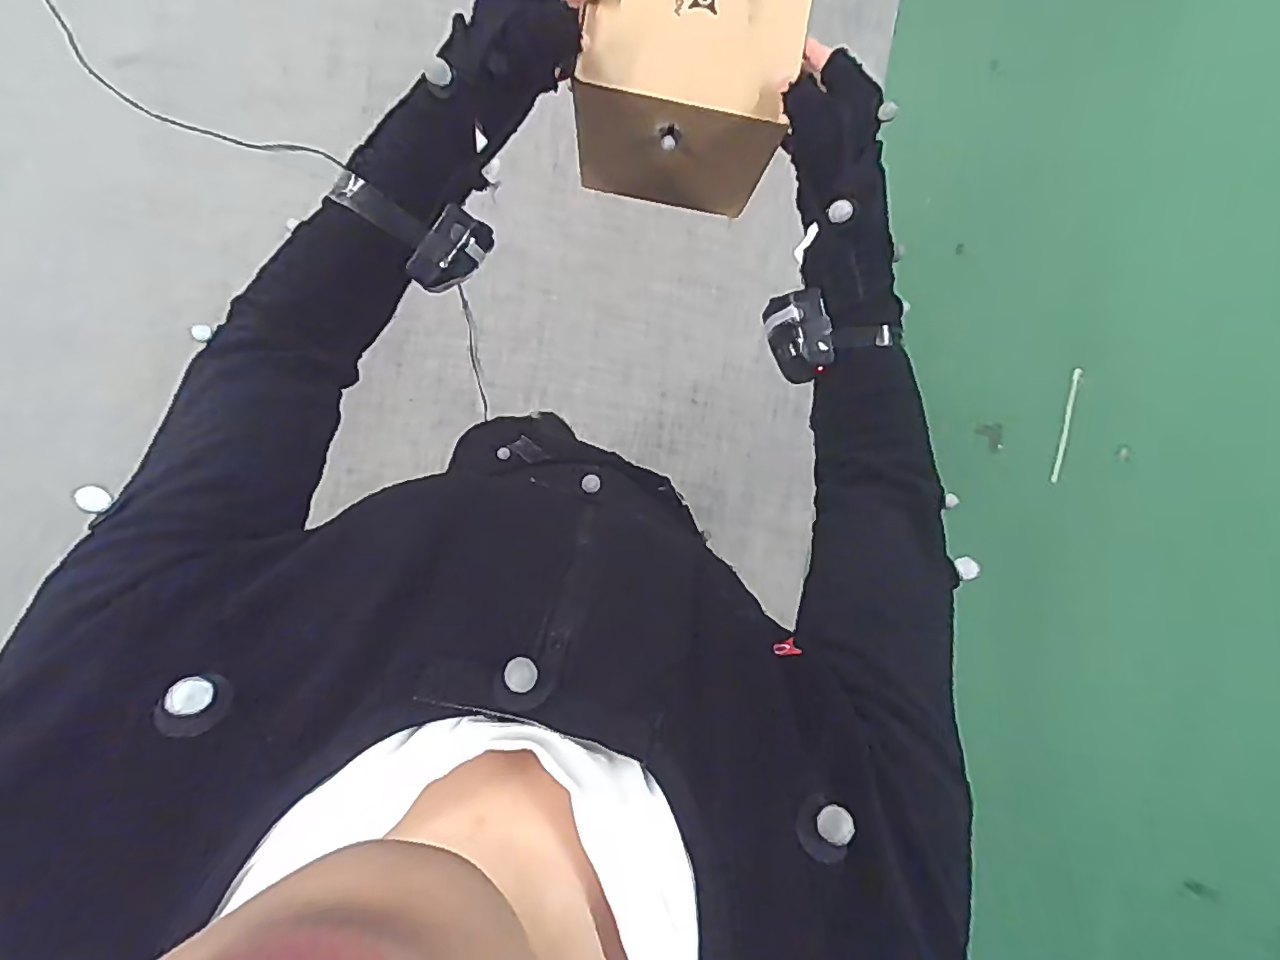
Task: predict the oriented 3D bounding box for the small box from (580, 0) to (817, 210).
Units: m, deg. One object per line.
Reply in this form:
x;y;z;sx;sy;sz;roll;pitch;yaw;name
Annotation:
0.046;-0.376;0.498;0.179;0.176;0.168;9;92;-5;small box
